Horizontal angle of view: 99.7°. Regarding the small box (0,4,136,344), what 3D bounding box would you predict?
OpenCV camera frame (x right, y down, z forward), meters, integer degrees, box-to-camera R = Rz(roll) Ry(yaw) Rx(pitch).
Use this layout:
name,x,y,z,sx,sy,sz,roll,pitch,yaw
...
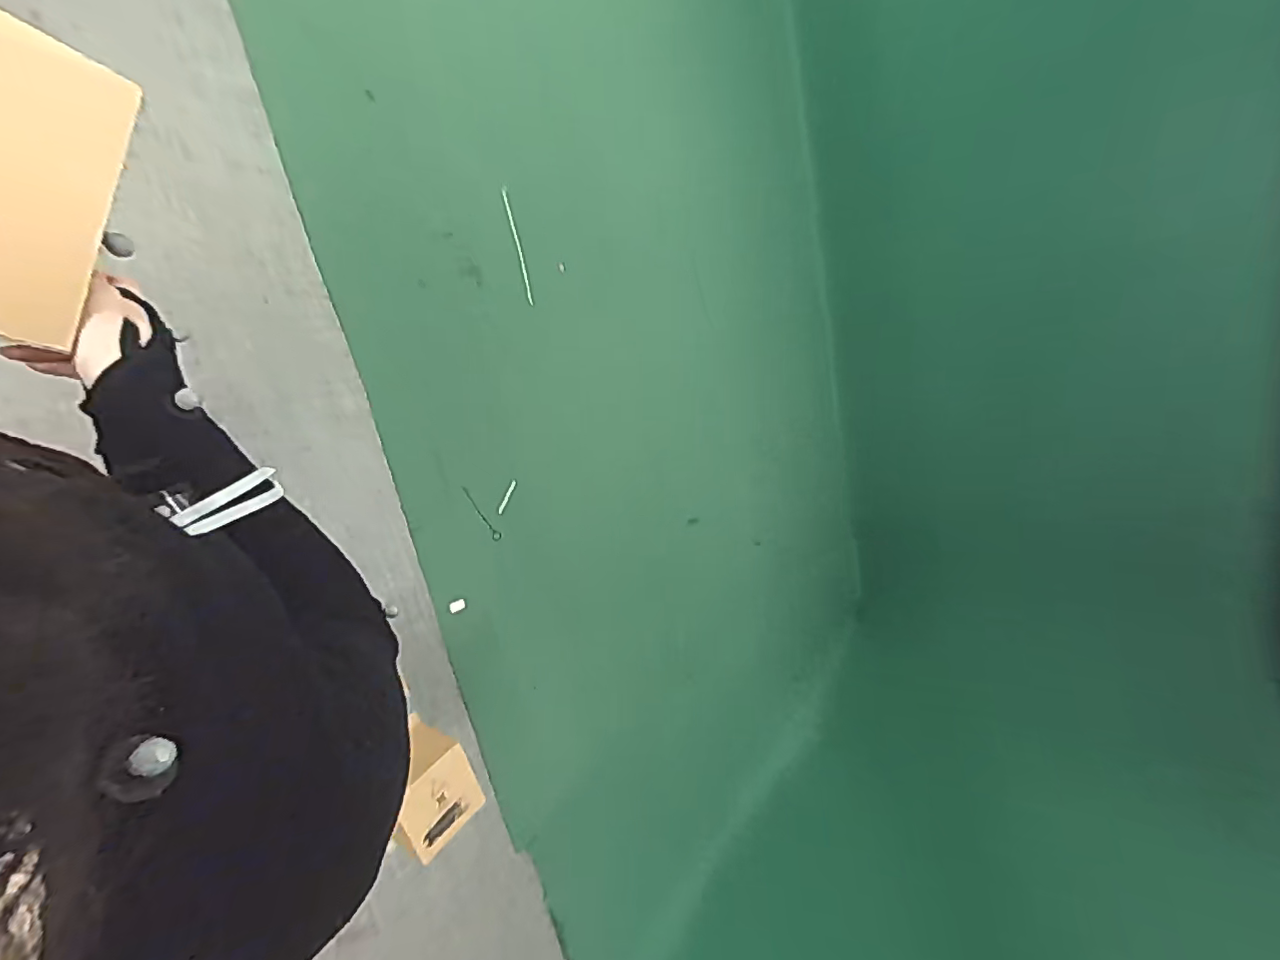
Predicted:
name,x,y,z,sx,sy,sz,roll,pitch,yaw
small box,-0.449,-0.202,0.331,0.168,0.176,0.179,13,96,-50
